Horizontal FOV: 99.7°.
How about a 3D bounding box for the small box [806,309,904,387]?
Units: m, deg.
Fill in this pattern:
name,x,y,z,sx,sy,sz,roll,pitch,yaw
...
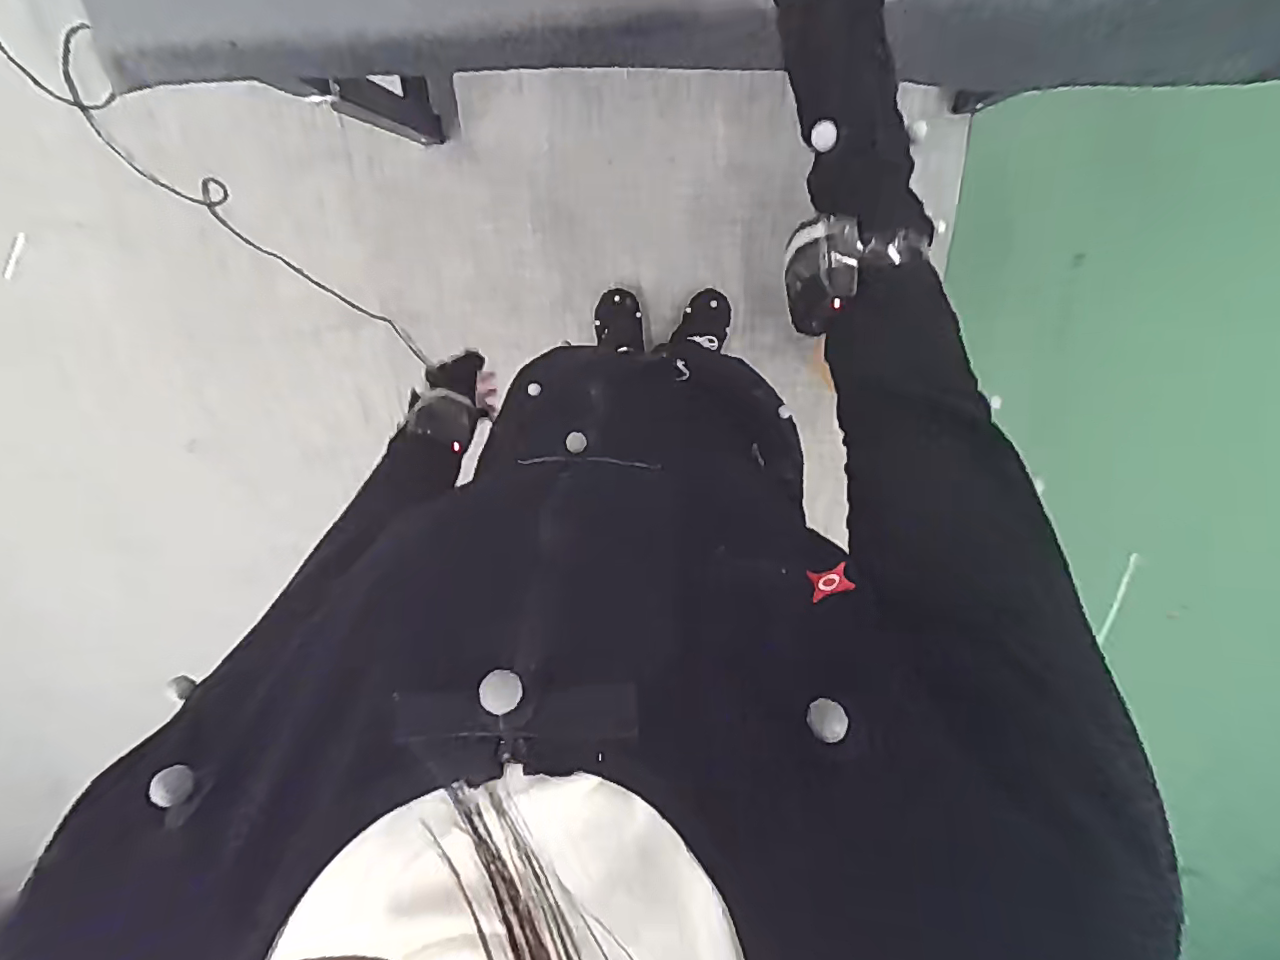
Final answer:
name,x,y,z,sx,sy,sz,roll,pitch,yaw
small box,0.504,-0.298,1.248,0.179,0.176,0.168,7,112,1
